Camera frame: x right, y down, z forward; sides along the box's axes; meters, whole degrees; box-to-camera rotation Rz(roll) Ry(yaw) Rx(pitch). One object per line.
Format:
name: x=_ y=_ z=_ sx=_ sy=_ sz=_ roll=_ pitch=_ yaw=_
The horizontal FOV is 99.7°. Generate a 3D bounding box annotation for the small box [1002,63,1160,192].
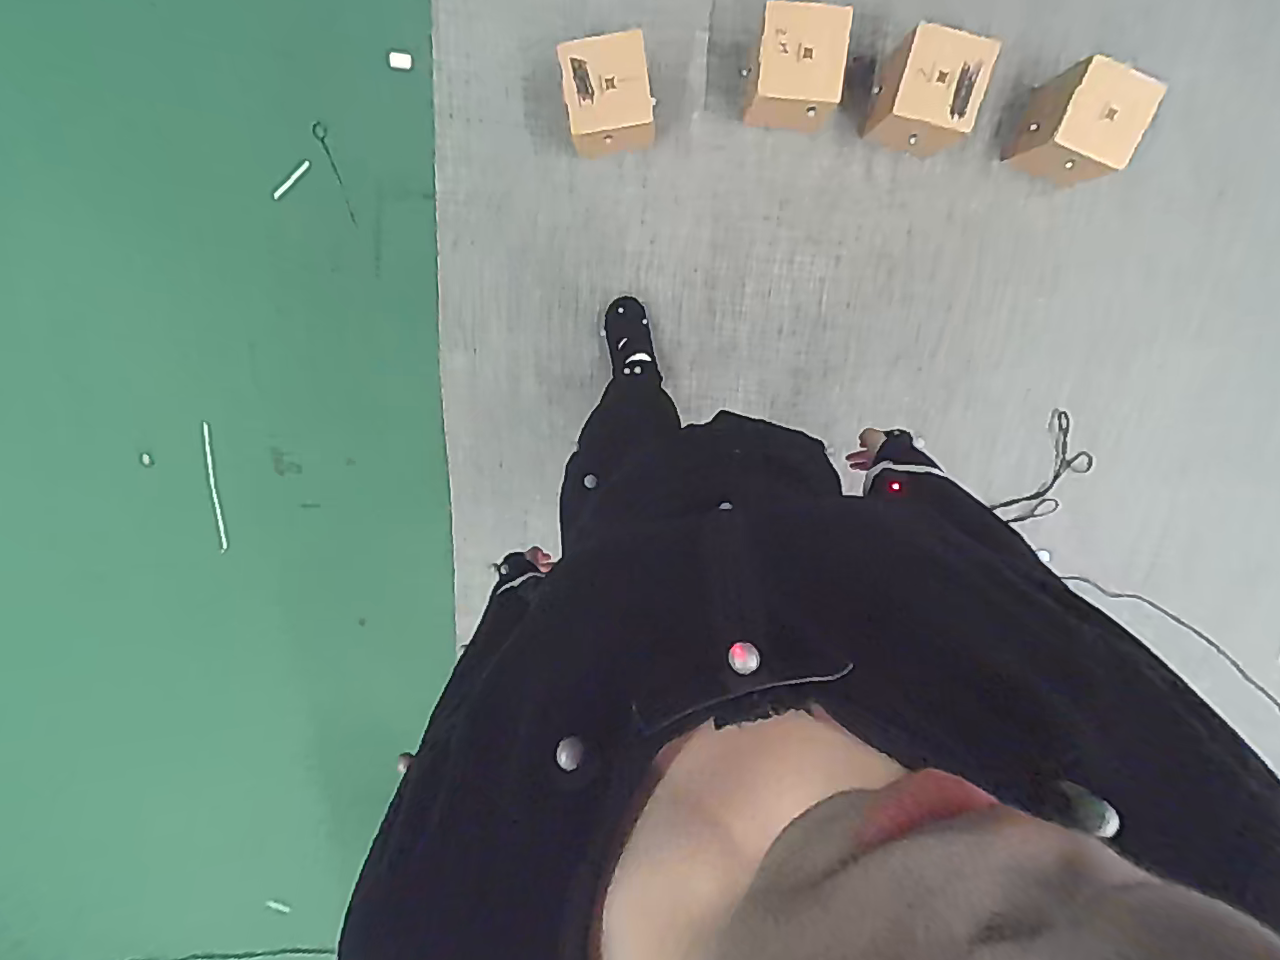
small box: x=0.953 y=-0.761 z=1.191 sx=0.179 sy=0.176 sz=0.168 roll=19 pitch=105 yaw=-6

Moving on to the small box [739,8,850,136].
small box: x=0.322 y=-0.863 z=1.161 sx=0.179 sy=0.176 sz=0.168 roll=4 pitch=105 yaw=-1

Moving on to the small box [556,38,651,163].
small box: x=-0.072 y=-0.812 z=1.176 sx=0.179 sy=0.176 sz=0.168 roll=-8 pitch=106 yaw=2
